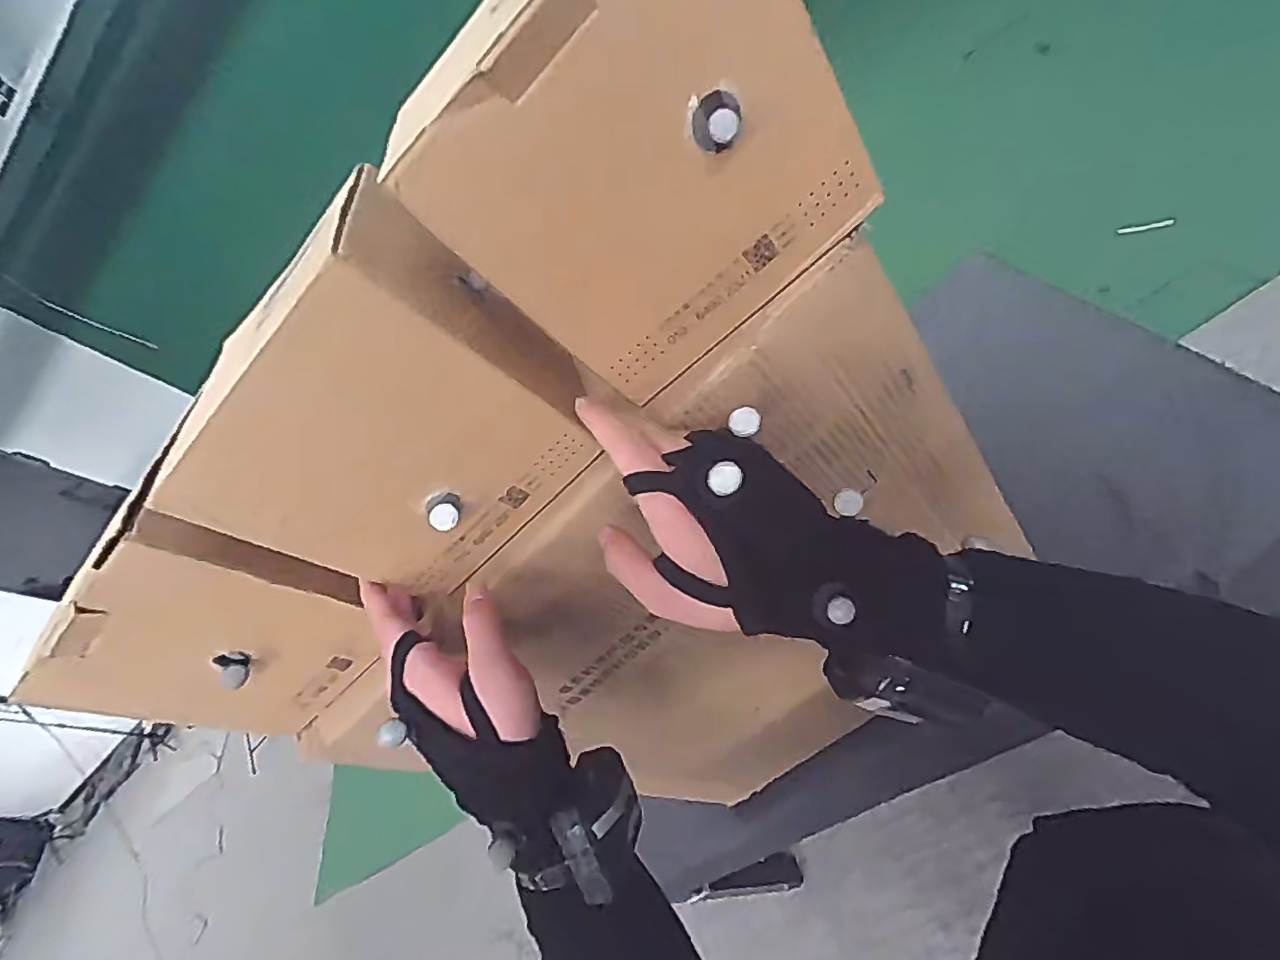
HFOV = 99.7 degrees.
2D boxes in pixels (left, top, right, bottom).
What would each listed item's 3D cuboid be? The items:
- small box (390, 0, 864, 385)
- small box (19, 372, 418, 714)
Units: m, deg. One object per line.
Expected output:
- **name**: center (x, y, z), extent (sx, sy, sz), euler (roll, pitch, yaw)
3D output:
- **small box**: center (-0.008, -0.180, 0.301), extent (0.168, 0.176, 0.179), euler (-36, 43, 17)
- **small box**: center (-0.289, 0.058, 0.412), extent (0.168, 0.176, 0.179), euler (-41, 42, 17)
